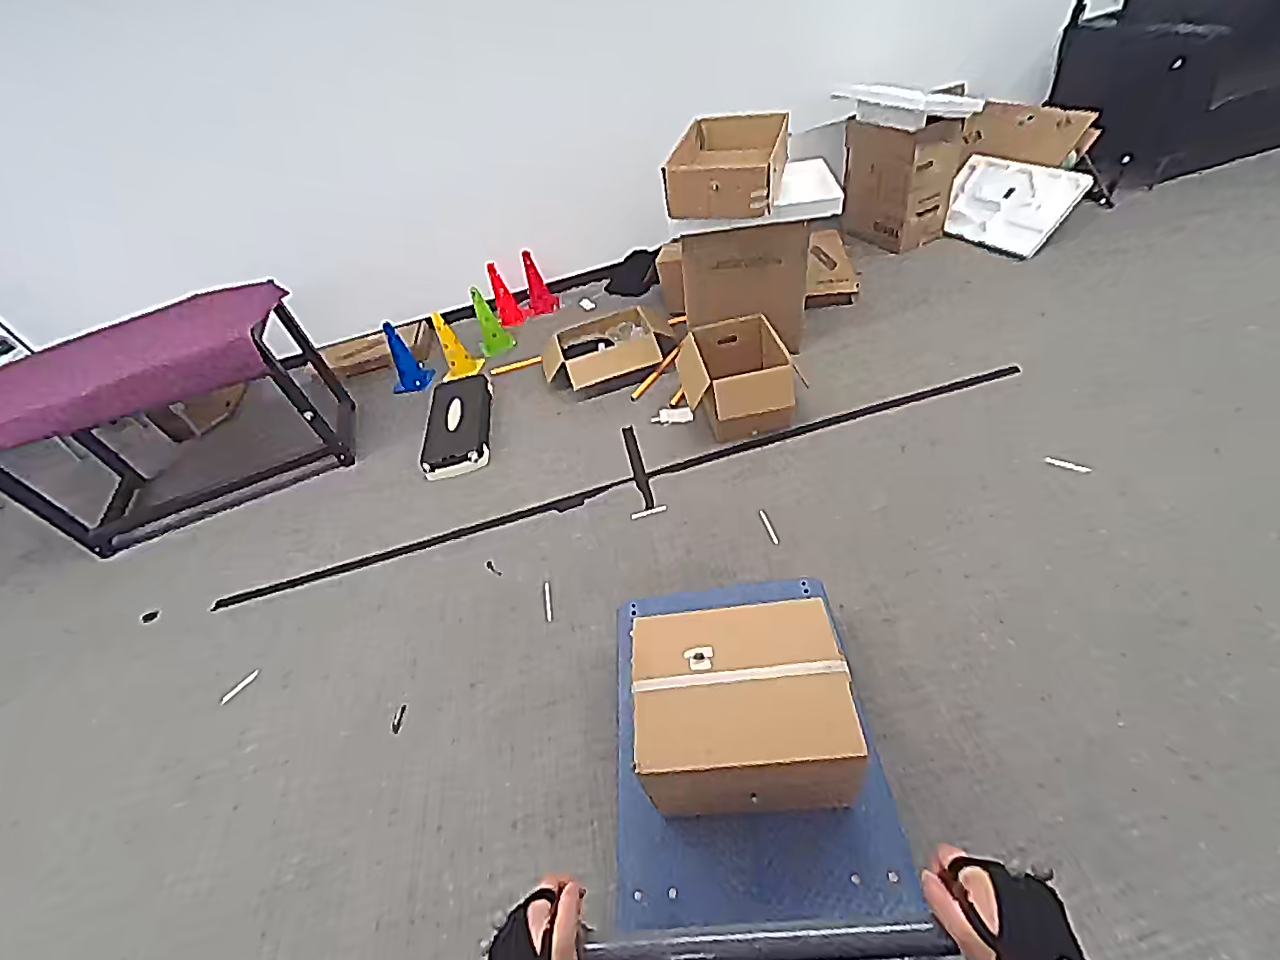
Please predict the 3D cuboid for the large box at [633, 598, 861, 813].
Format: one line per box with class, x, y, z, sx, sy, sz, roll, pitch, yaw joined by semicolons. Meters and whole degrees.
large box;0.215;0.491;1.160;0.408;0.320;0.320;-9;43;8
